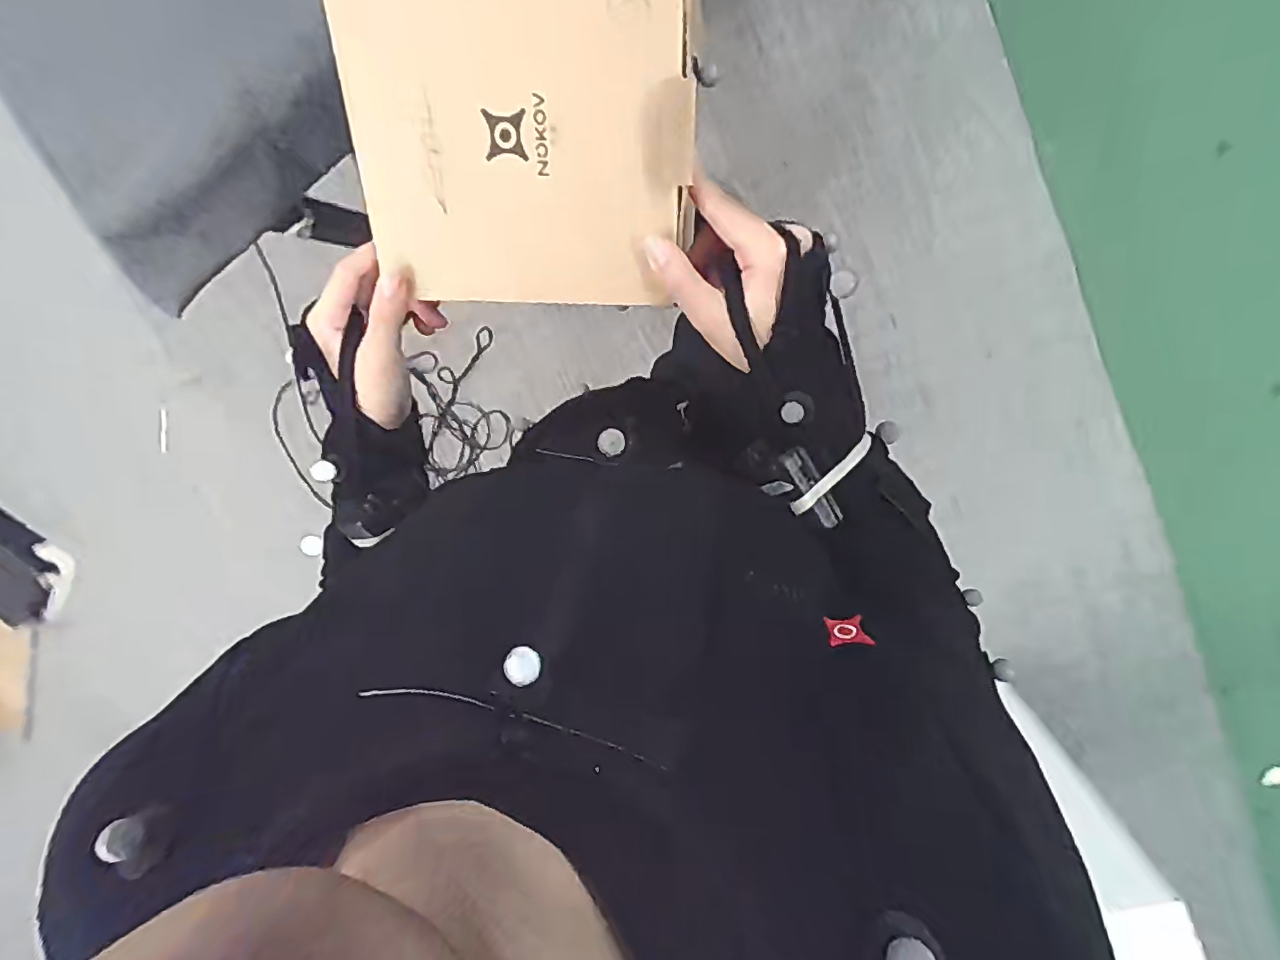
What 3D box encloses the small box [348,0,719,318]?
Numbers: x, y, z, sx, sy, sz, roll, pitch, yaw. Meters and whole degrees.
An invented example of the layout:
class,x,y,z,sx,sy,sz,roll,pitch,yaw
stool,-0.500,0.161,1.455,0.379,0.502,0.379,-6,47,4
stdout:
class,x,y,z,sx,sy,sz,roll,pitch,yaw
small box,-0.043,-0.204,0.345,0.179,0.176,0.168,4,116,7
